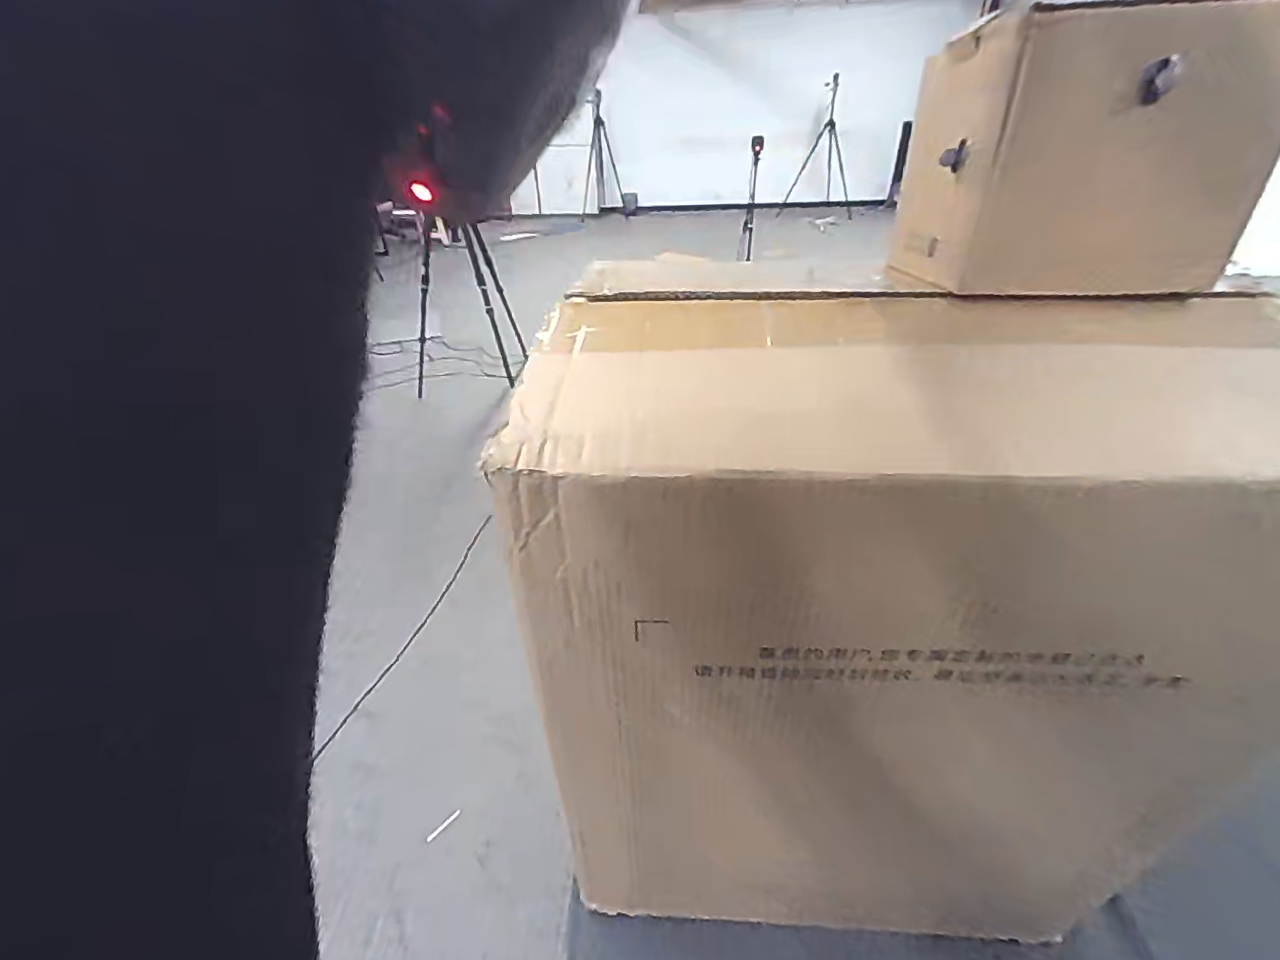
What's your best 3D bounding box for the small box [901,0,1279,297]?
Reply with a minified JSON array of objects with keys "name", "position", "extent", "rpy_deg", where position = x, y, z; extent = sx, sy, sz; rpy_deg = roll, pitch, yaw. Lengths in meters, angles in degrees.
[{"name":"small box","position":[0.324,-0.244,0.420],"extent":[0.179,0.176,0.168],"rpy_deg":[2,31,3]}]
